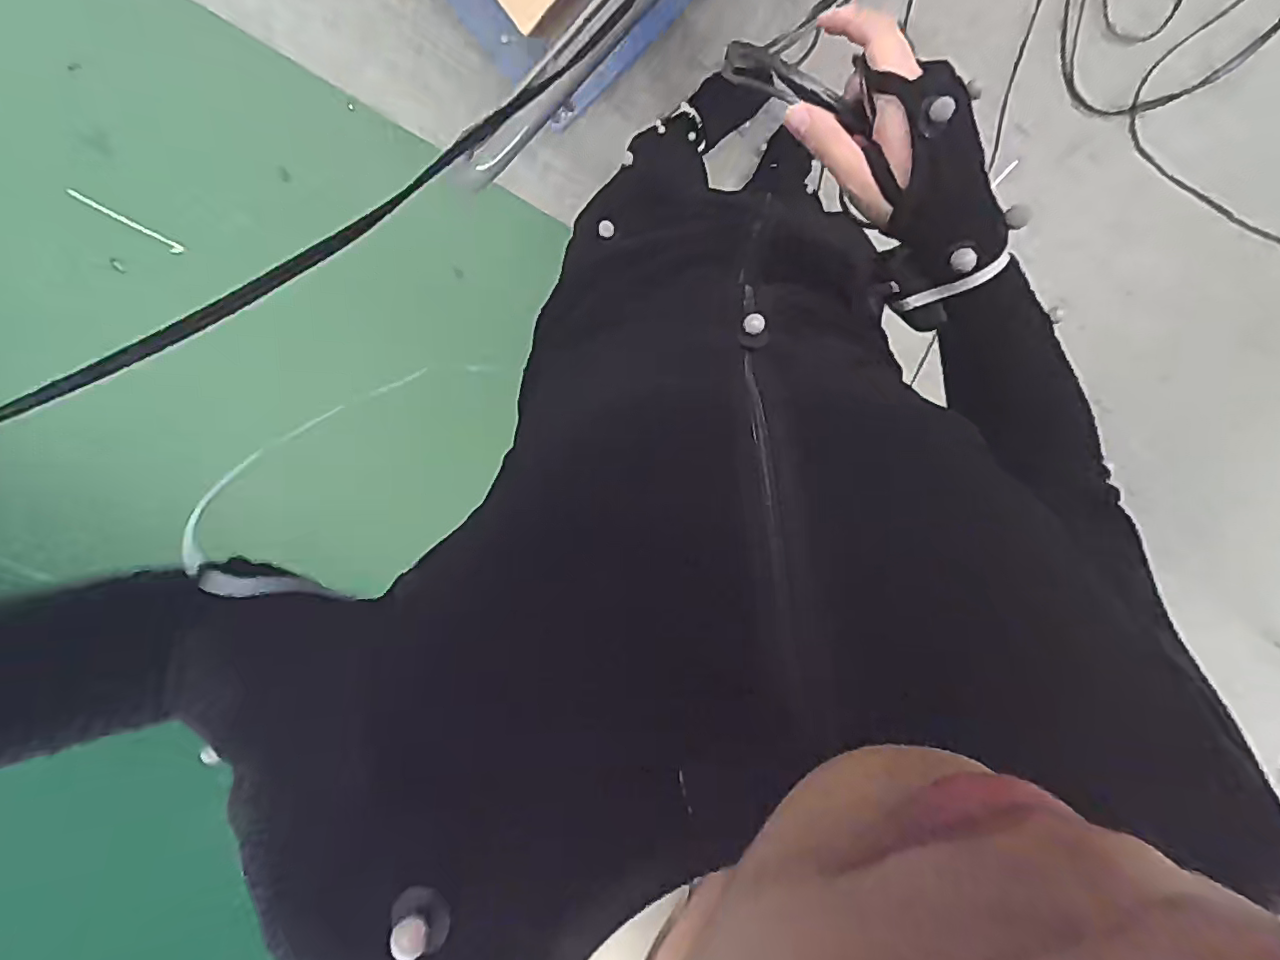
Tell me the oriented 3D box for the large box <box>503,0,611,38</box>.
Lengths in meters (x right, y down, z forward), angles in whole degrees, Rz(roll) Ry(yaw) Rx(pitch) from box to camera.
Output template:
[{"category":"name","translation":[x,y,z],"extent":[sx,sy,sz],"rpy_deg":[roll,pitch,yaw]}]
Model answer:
[{"category":"large box","translation":[-0.149,-0.945,0.766],"extent":[0.320,0.320,0.408],"rpy_deg":[-29,119,29]}]
